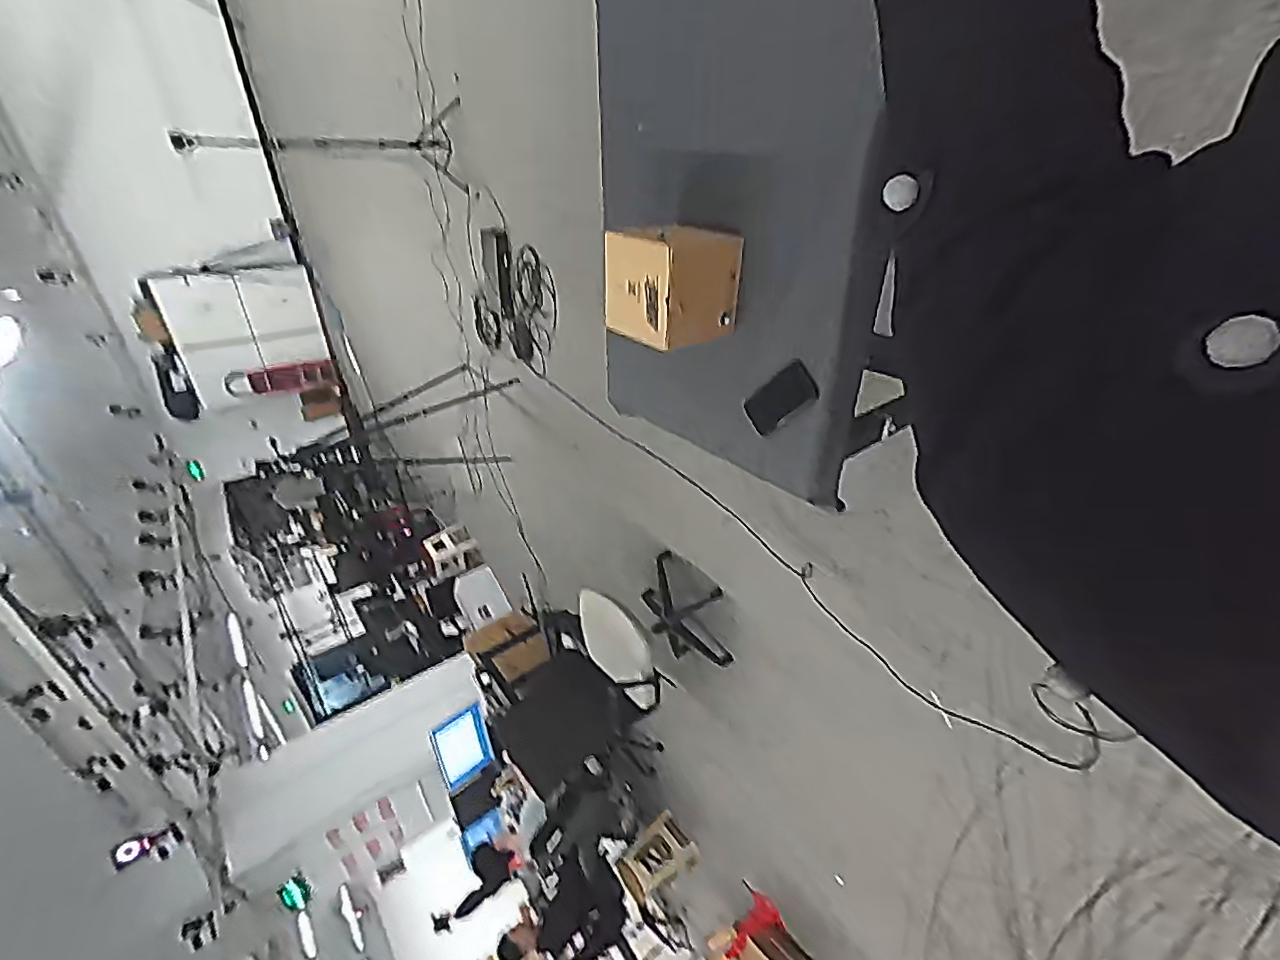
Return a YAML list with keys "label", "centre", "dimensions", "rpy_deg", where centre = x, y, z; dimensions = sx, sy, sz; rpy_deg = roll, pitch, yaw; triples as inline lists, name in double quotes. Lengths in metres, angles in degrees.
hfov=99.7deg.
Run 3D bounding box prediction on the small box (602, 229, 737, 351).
- label: "small box"
  centre: [0.051, -0.346, 0.965]
  dimensions: [0.179, 0.176, 0.168]
  rpy_deg: [35, 135, 41]
